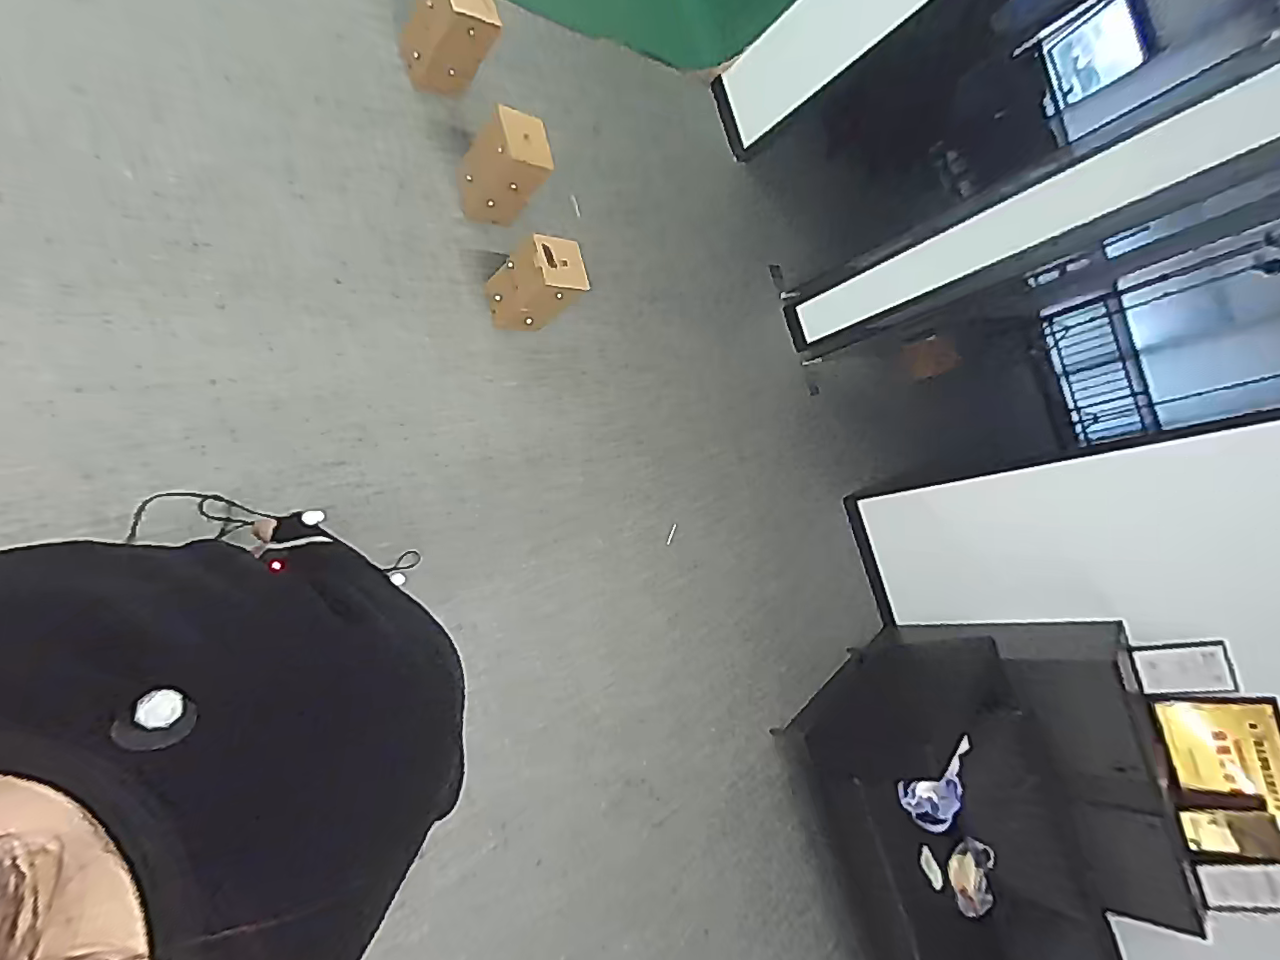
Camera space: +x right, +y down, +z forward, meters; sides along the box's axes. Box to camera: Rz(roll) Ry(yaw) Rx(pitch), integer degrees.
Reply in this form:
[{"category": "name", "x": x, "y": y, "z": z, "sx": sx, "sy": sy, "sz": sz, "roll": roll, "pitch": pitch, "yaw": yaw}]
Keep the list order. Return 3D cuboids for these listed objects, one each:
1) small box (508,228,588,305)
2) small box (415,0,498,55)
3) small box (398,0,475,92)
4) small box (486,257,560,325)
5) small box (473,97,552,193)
[{"category": "small box", "x": -0.300, "y": -0.673, "z": 1.723, "sx": 0.179, "sy": 0.176, "sz": 0.168, "roll": -14, "pitch": 88, "yaw": -45}, {"category": "small box", "x": -0.581, "y": -1.481, "z": 1.689, "sx": 0.179, "sy": 0.176, "sz": 0.168, "roll": -23, "pitch": 95, "yaw": -44}, {"category": "small box", "x": -0.688, "y": -1.448, "z": 1.810, "sx": 0.179, "sy": 0.176, "sz": 0.168, "roll": -21, "pitch": 93, "yaw": -44}, {"category": "small box", "x": -0.406, "y": -0.640, "z": 1.846, "sx": 0.179, "sy": 0.176, "sz": 0.168, "roll": -16, "pitch": 90, "yaw": -43}, {"category": "small box", "x": -0.413, "y": -1.062, "z": 1.729, "sx": 0.168, "sy": 0.176, "sz": 0.179, "roll": -14, "pitch": 88, "yaw": -44}]
